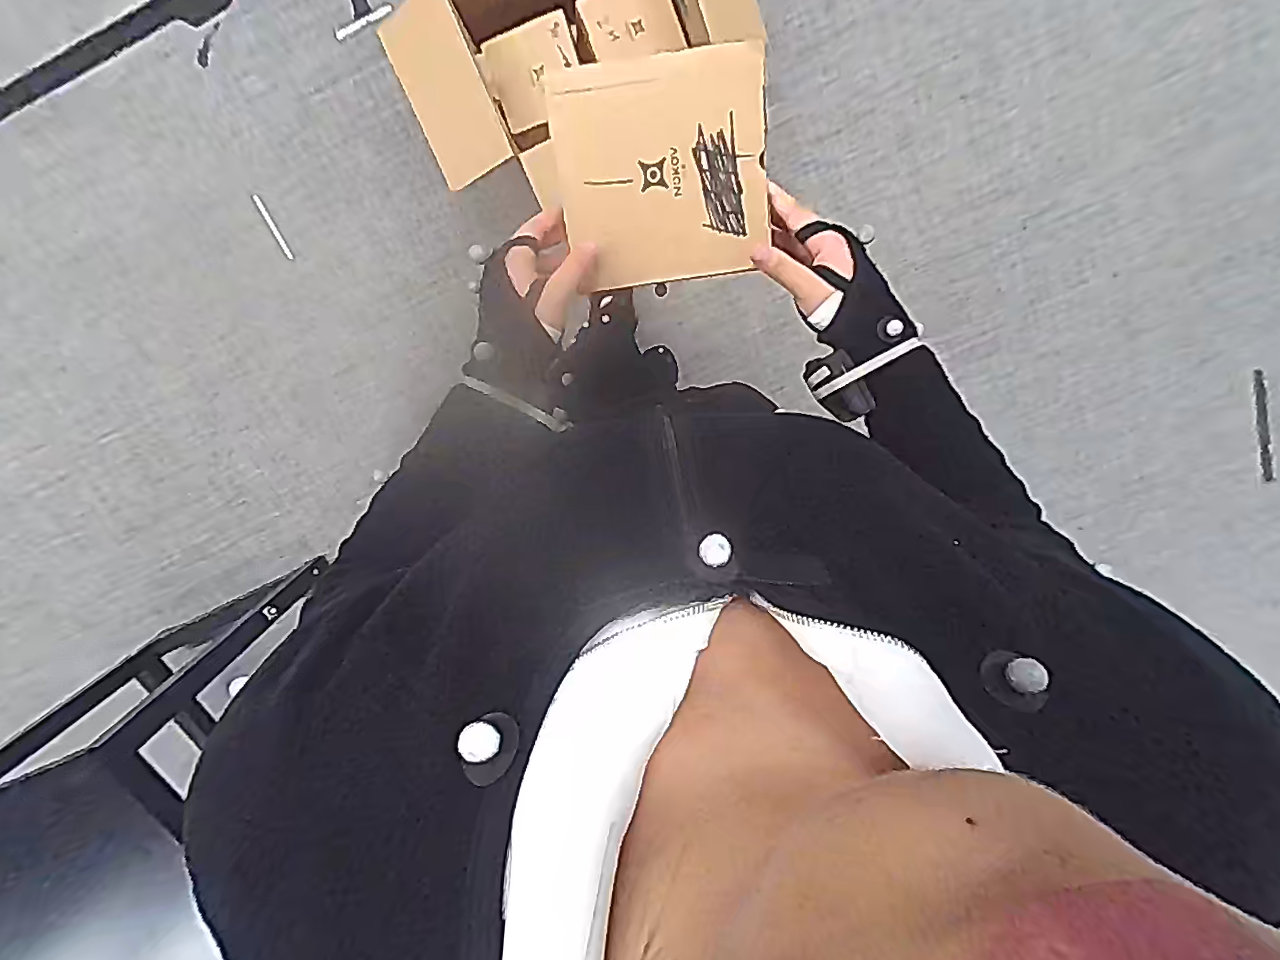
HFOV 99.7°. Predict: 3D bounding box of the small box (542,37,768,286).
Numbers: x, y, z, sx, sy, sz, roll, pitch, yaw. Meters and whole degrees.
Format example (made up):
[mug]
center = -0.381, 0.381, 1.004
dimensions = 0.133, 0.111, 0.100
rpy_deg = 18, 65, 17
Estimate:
[small box]
center = 0.015, -0.287, 0.520
dimensions = 0.179, 0.176, 0.168
rpy_deg = -7, 112, 2
